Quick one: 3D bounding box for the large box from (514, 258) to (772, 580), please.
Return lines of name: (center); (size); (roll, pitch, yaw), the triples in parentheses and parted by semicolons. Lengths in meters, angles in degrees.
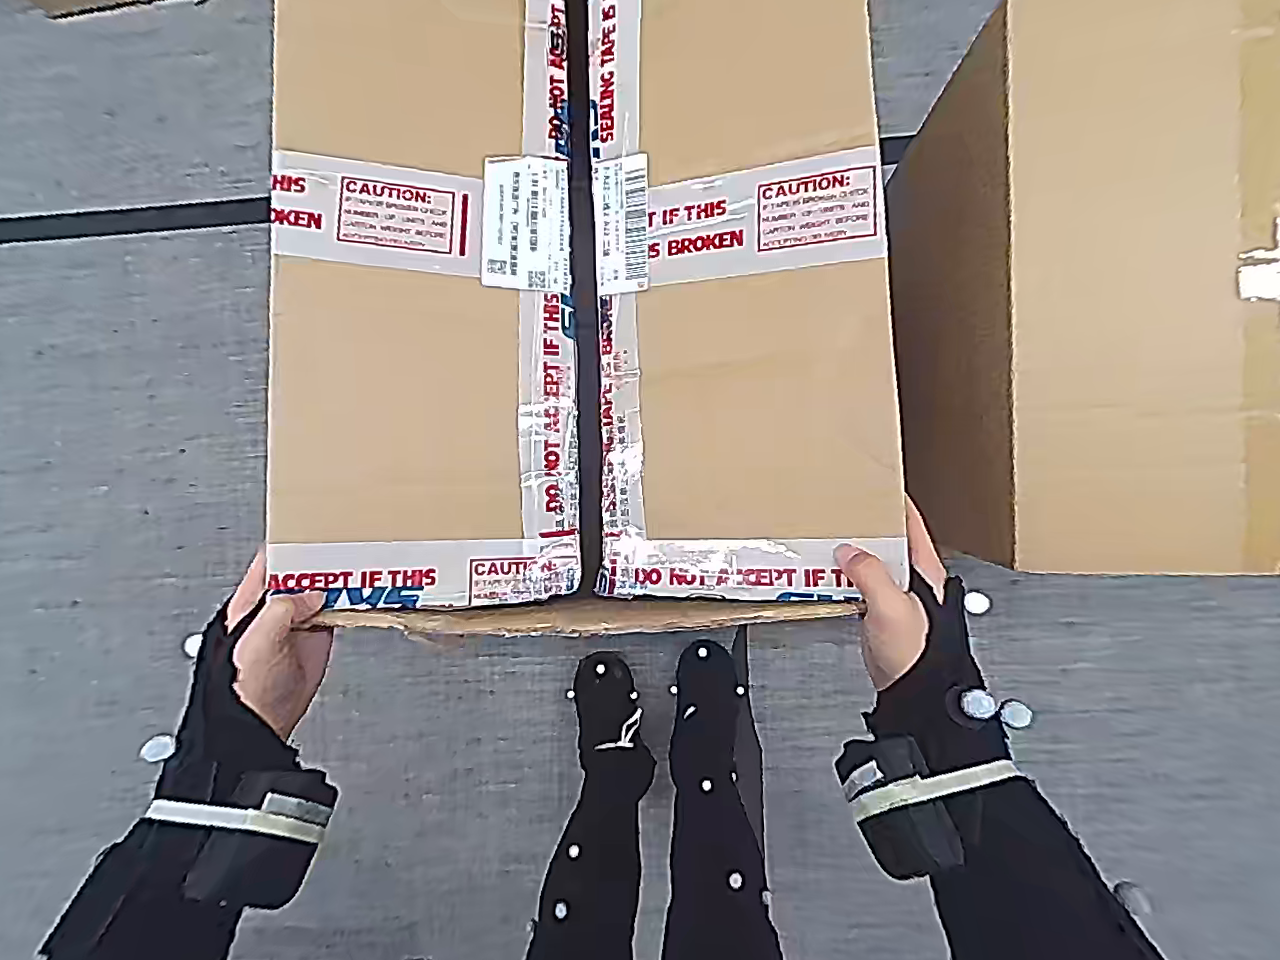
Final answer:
large box: (0.007, -0.079, 0.847); (0.320, 0.320, 0.408); (-4, 90, 3)
